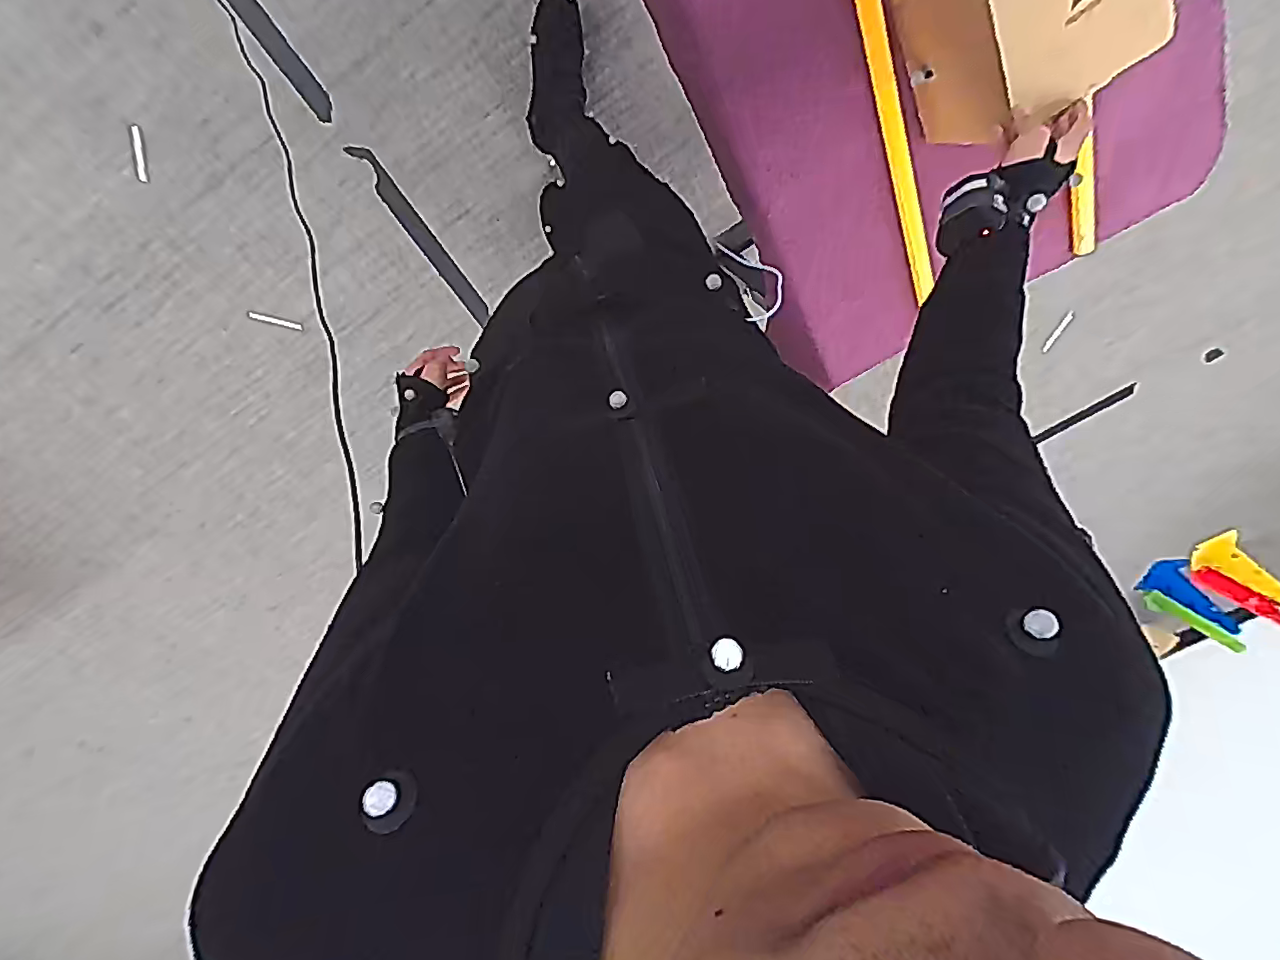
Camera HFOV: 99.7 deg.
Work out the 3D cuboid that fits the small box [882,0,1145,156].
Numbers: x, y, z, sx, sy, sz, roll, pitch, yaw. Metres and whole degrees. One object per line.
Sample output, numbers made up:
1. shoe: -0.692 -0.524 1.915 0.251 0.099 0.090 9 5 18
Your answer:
1. small box: 0.405 -0.500 0.604 0.168 0.176 0.179 -32 122 11
